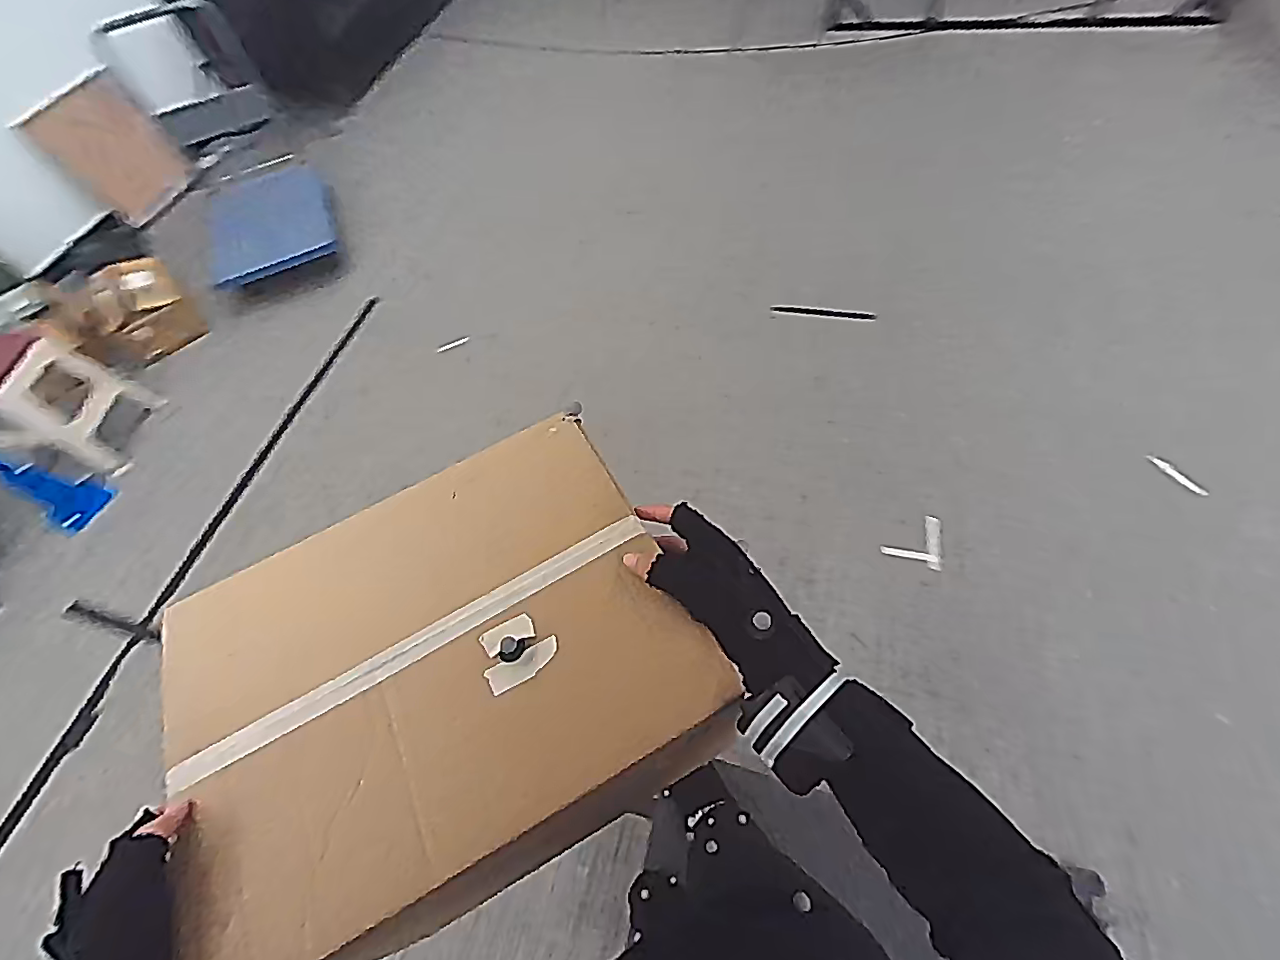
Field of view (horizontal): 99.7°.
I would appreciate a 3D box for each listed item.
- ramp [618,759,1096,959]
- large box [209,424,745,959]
[{"bbox_3d":[0.476,0.967,1.153,0.991,0.206,0.509,9,60,12],"label":"ramp"},{"bbox_3d":[-0.142,0.217,0.578,0.408,0.320,0.320,-27,58,-9],"label":"large box"}]
